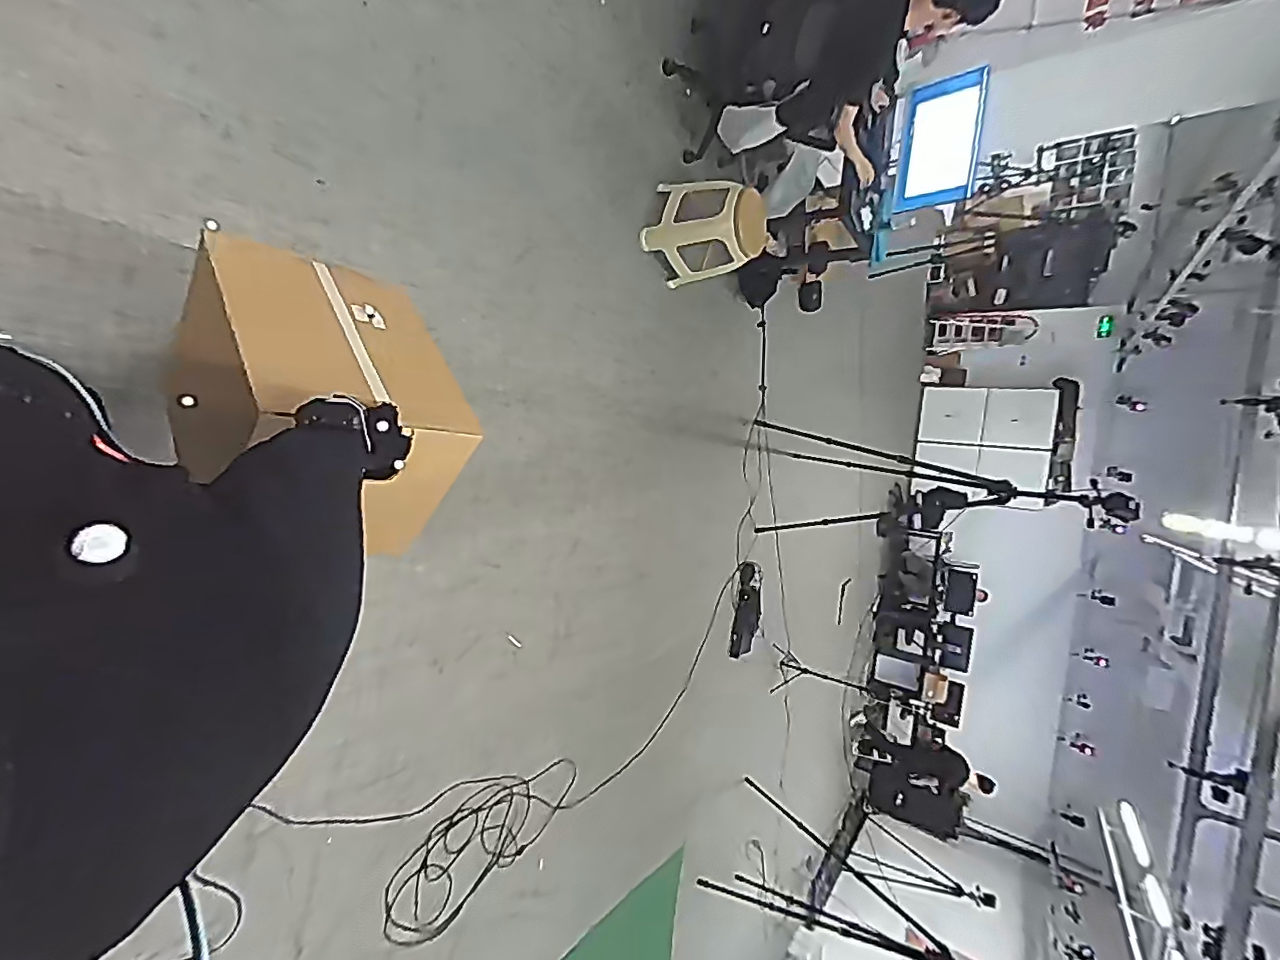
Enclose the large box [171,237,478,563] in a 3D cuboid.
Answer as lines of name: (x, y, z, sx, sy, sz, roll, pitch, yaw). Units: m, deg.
large box: (-0.547, -0.121, 0.918, 0.320, 0.408, 0.320, 2, 135, -52)
